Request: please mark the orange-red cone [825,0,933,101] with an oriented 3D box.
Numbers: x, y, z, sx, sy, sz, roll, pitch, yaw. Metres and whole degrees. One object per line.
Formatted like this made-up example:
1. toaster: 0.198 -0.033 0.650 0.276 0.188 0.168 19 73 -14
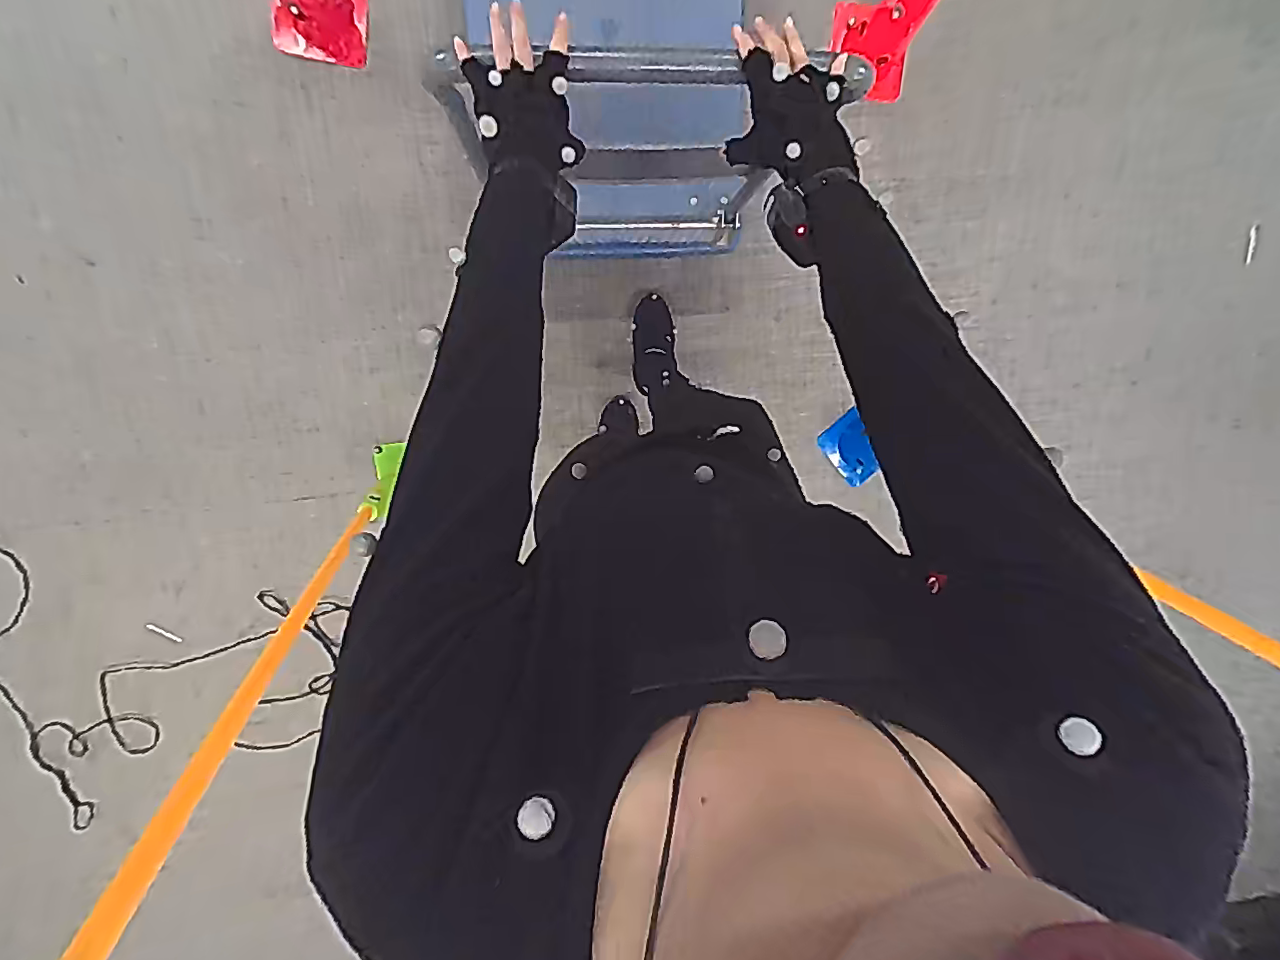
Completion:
1. orange-red cone: 0.580 -1.023 1.173 0.198 0.360 0.199 5 102 -6
